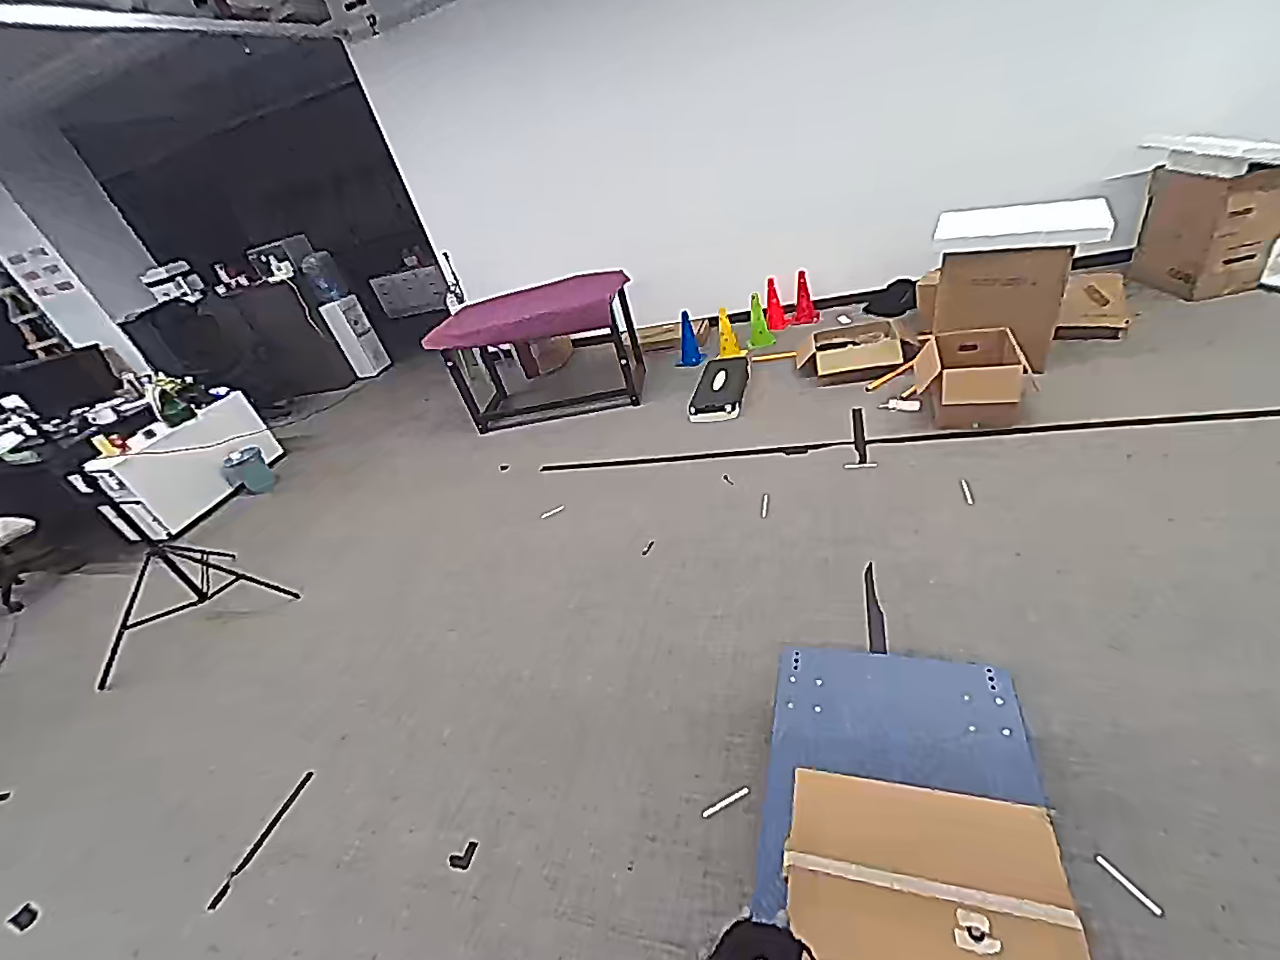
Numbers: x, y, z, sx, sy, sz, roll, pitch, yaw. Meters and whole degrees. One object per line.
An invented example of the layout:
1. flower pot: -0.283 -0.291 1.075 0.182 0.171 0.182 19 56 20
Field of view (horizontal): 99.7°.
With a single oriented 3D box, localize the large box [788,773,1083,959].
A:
1. large box: 0.478 0.767 0.940 0.408 0.320 0.320 -1 37 21
